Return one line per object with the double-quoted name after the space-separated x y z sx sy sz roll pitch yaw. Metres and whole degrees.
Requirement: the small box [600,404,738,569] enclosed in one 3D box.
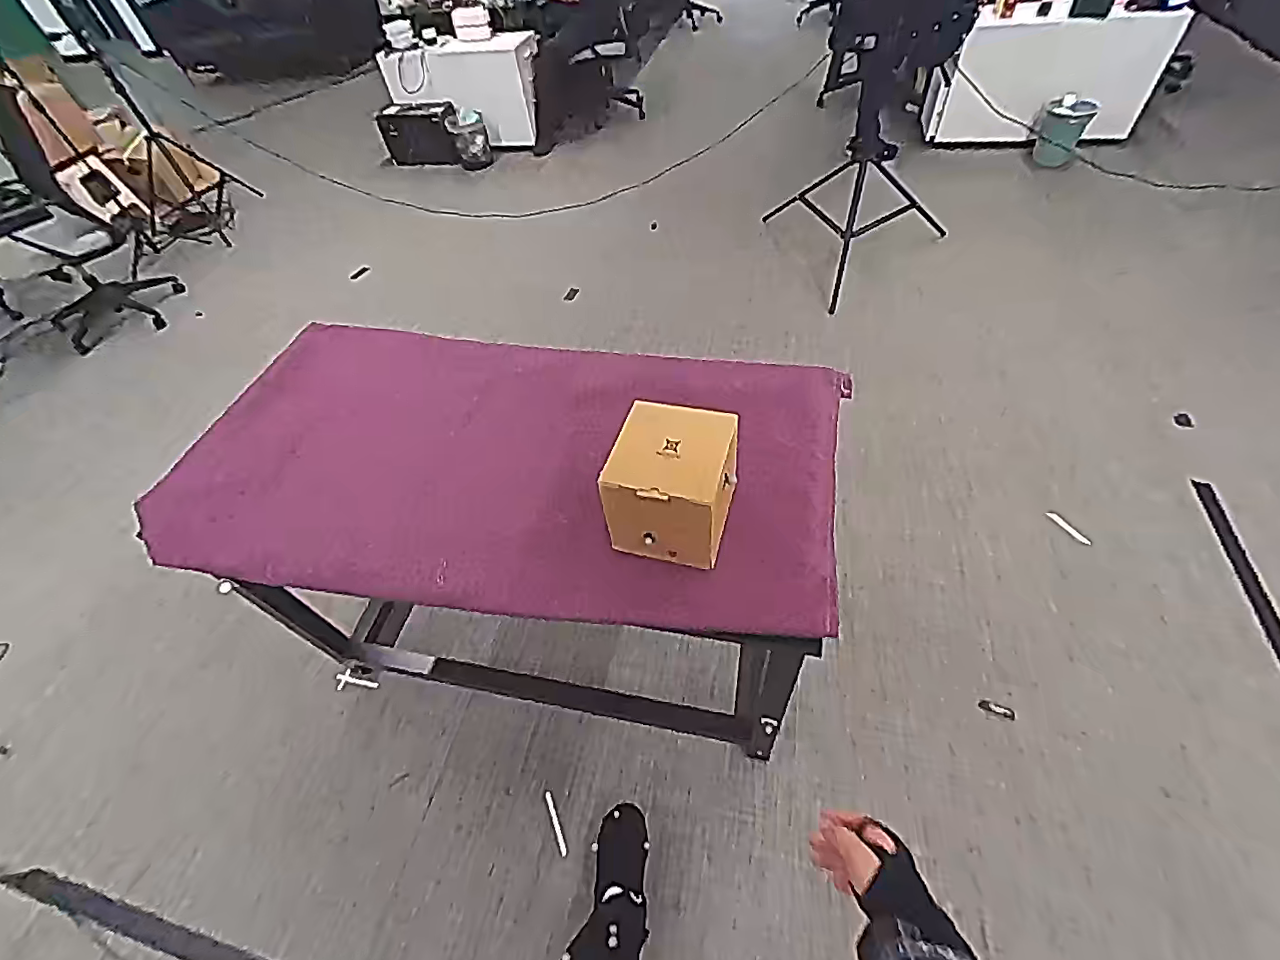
0.051 0.010 0.841 0.168 0.176 0.179 10 52 15 "small box"
